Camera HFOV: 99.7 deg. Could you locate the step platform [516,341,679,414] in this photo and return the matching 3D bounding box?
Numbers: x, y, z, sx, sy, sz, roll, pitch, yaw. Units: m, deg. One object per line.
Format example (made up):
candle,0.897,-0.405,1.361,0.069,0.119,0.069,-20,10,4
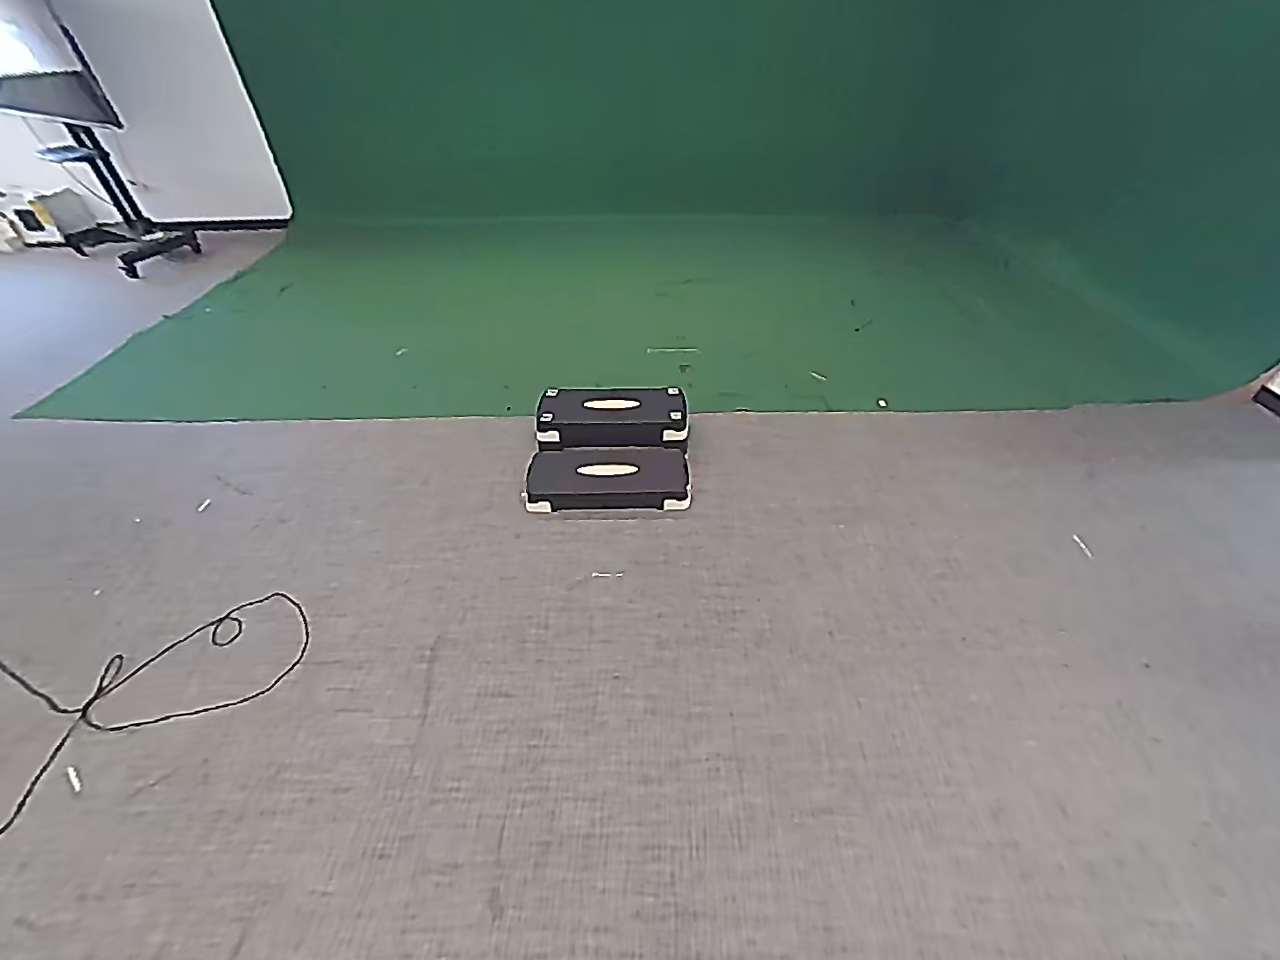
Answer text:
step platform,-0.174,-0.445,2.343,0.684,0.204,0.286,-1,42,1
